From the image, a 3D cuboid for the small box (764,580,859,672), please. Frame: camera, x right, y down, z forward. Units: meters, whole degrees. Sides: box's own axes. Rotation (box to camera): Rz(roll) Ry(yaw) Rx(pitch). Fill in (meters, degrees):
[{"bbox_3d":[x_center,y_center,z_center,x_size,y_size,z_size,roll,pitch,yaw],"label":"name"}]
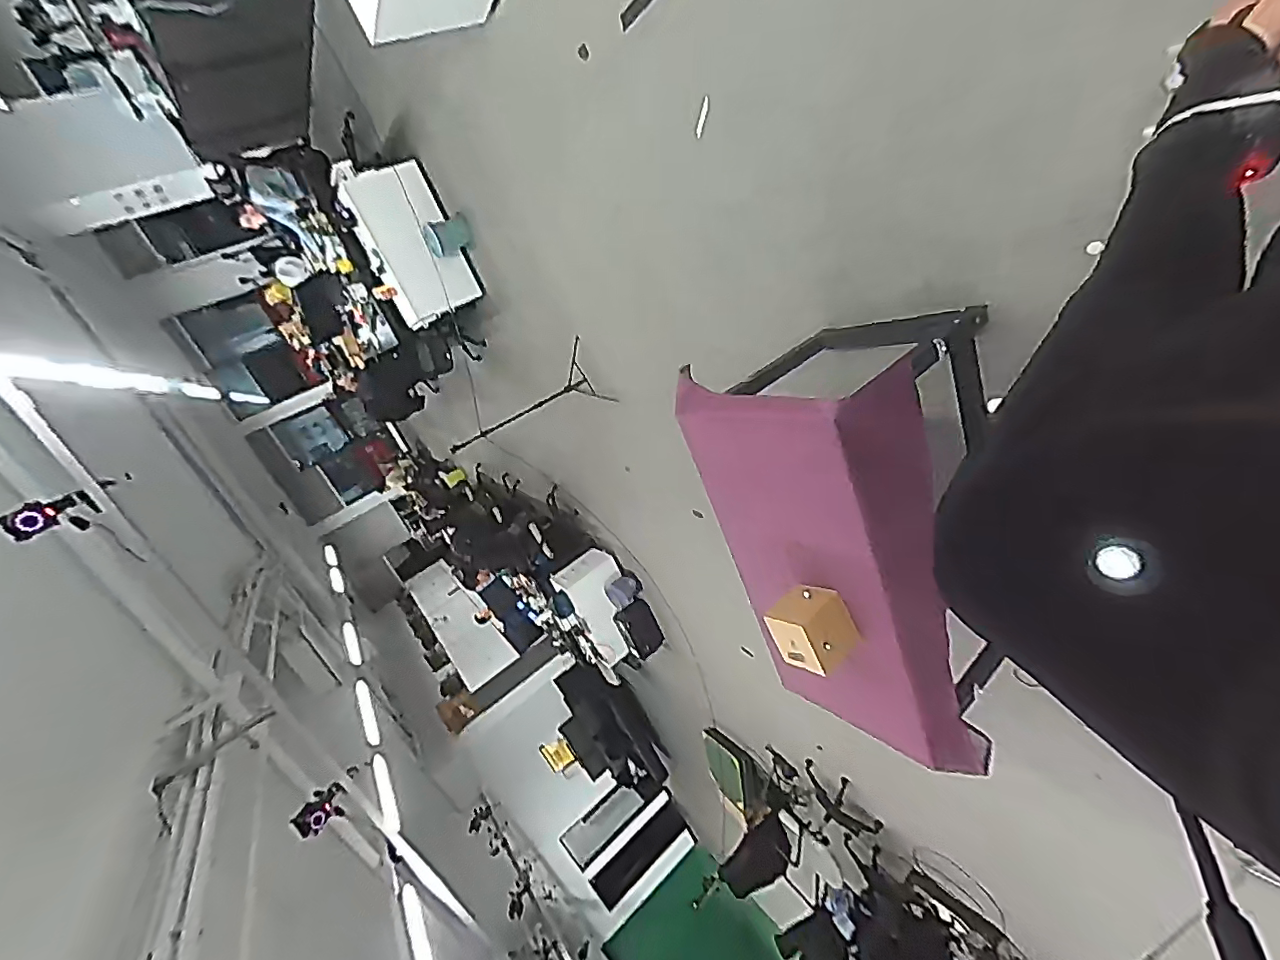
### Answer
[{"bbox_3d":[0.506,0.421,1.586,0.179,0.176,0.168,61,155,-12],"label":"small box"}]
